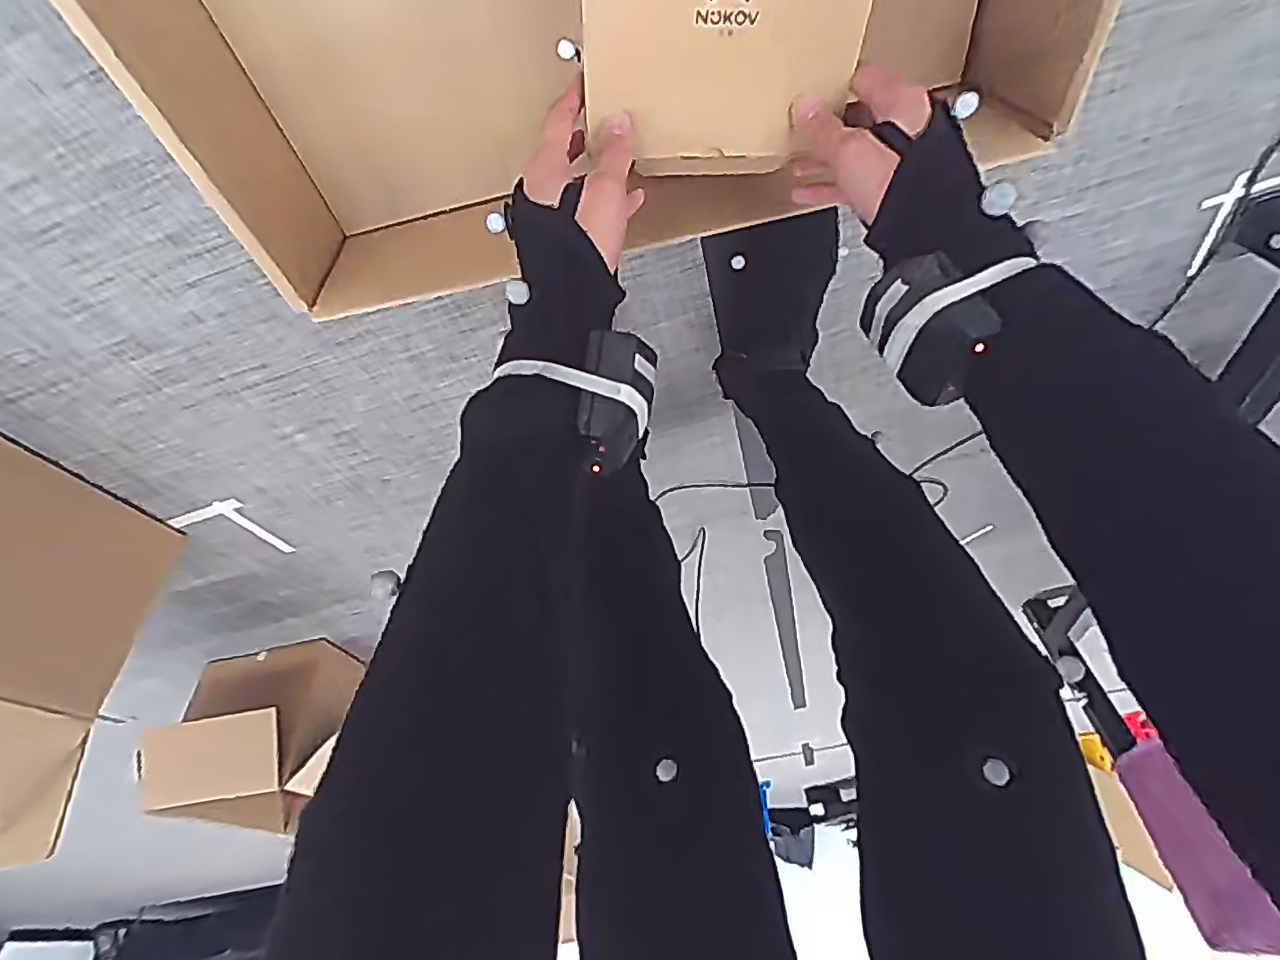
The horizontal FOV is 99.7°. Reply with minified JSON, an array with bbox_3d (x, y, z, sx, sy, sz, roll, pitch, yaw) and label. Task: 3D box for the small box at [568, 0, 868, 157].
[{"bbox_3d":[0.038,-0.327,0.338,0.168,0.176,0.179,-3,138,-6],"label":"small box"}]
